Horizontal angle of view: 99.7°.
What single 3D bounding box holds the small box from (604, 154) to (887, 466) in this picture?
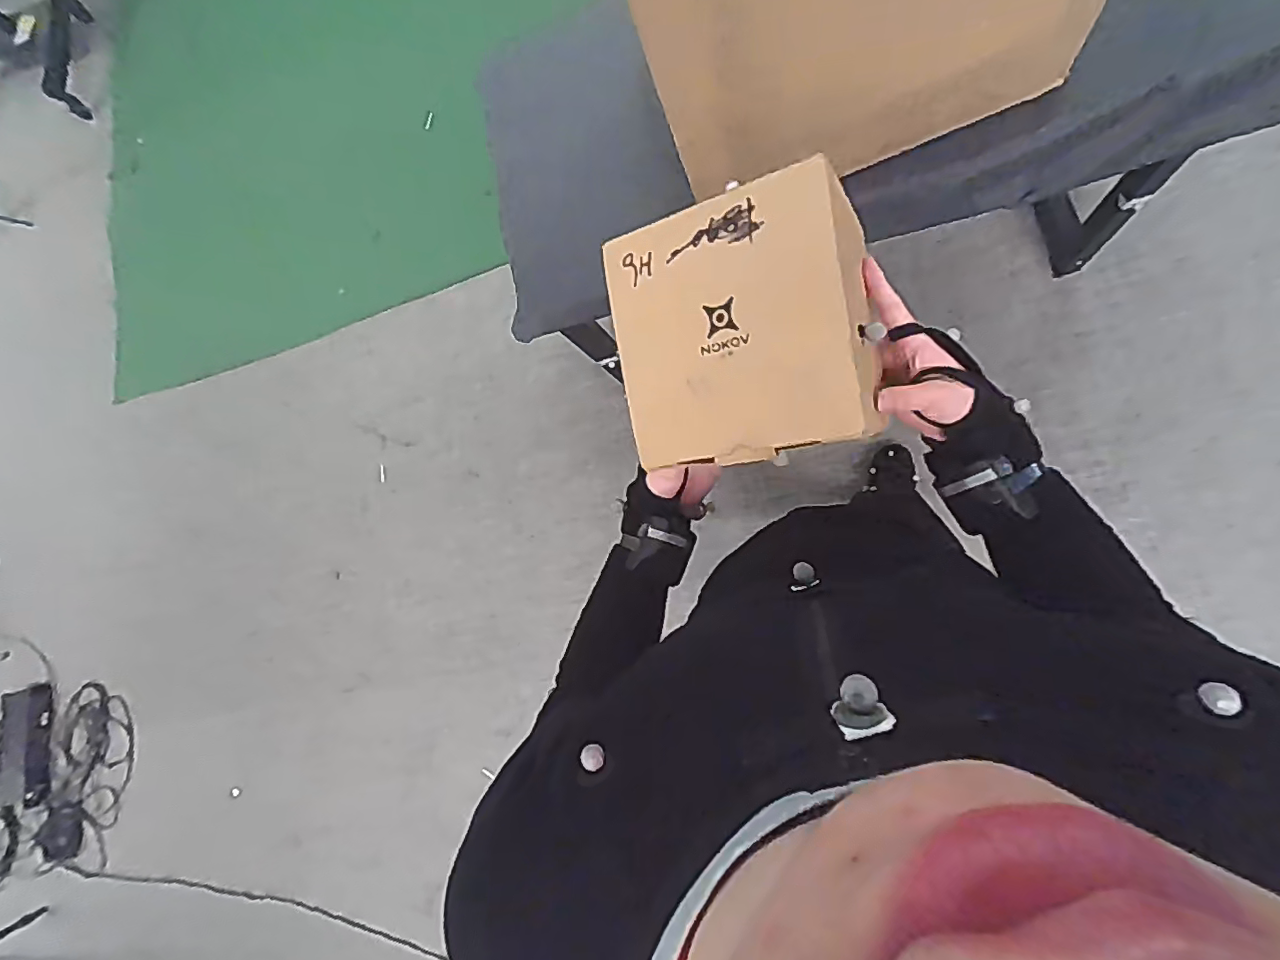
[{"bbox_3d":[0.097,-0.118,0.441,0.168,0.176,0.179,-9,95,30],"label":"small box"}]
